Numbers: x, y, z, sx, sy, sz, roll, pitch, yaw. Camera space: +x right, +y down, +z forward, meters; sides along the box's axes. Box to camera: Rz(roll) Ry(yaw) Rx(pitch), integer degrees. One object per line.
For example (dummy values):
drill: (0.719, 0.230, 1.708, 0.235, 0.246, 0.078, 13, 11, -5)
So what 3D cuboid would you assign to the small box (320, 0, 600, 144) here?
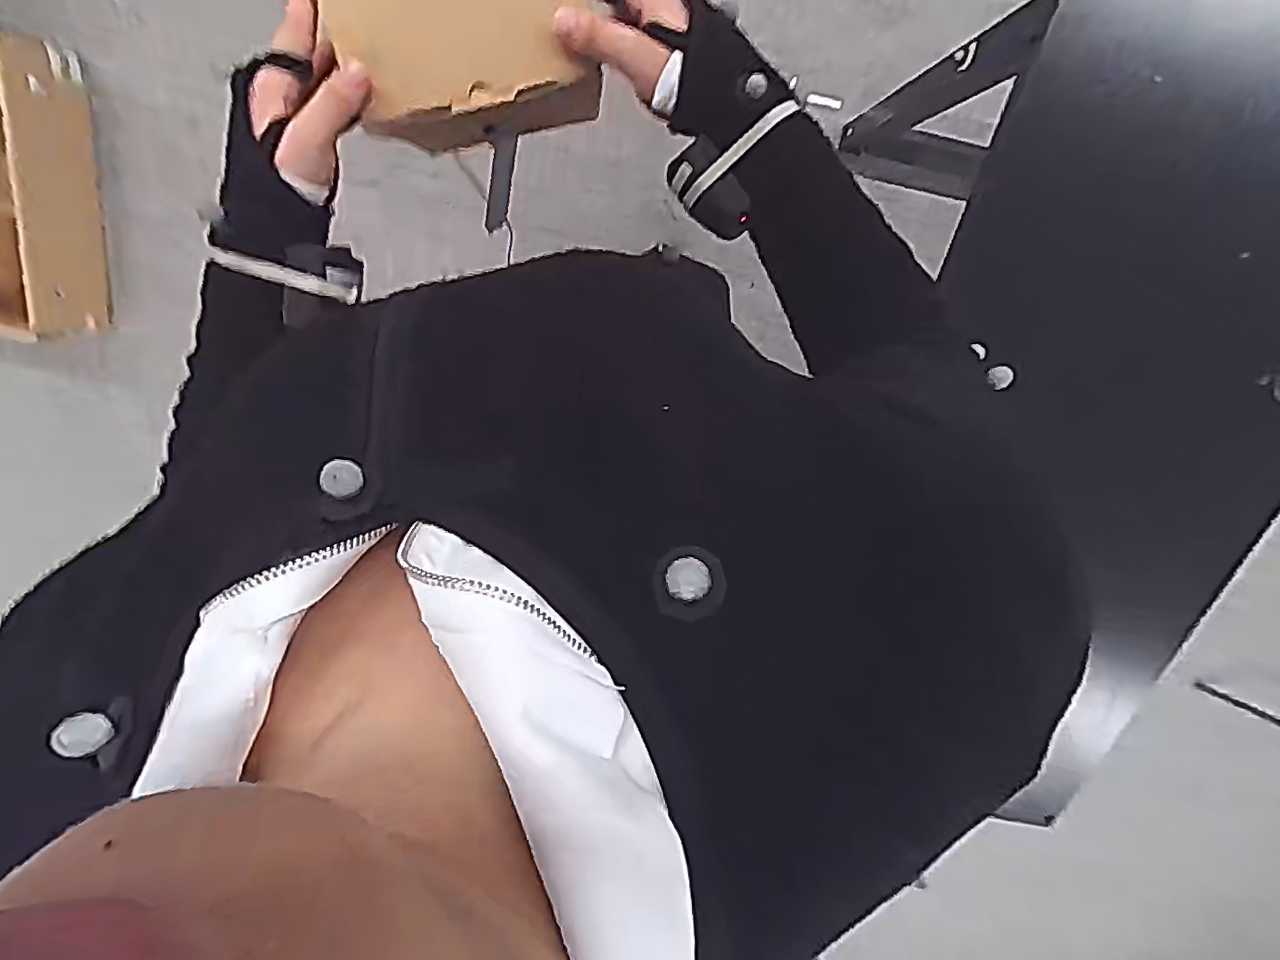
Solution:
small box: (-0.129, -0.367, 0.392, 0.168, 0.176, 0.179, -12, 117, 0)

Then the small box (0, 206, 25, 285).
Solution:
small box: (-1.548, -0.541, 1.207, 0.168, 0.176, 0.179, 13, 109, -7)
